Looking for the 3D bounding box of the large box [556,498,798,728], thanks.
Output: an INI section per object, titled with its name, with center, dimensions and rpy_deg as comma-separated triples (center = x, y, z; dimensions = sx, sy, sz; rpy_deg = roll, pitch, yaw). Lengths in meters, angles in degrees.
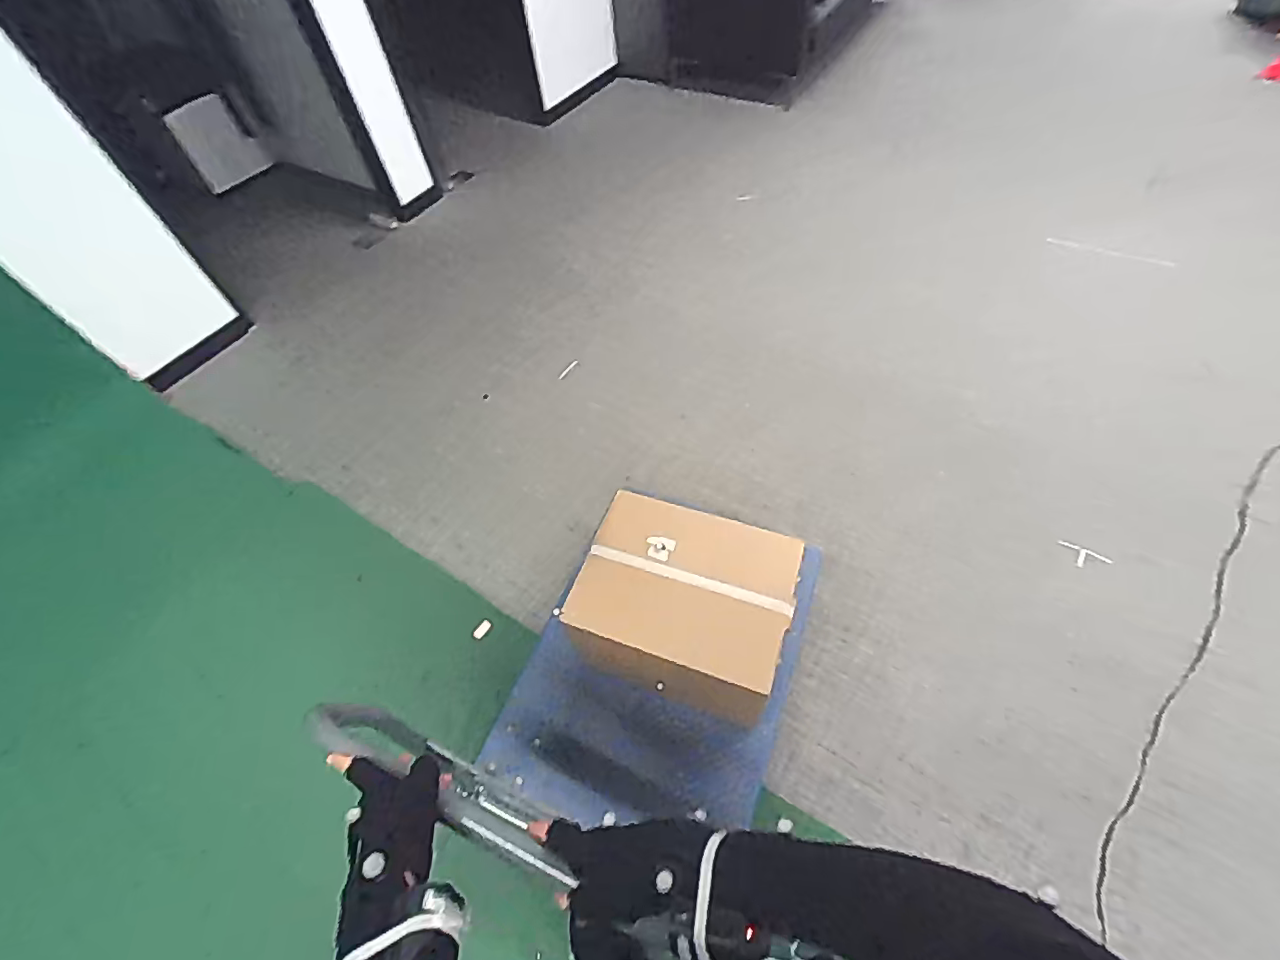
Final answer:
[large box]
center = 0.093, 0.287, 1.163
dimensions = 0.408, 0.320, 0.320
rpy_deg = 15, 57, 17
